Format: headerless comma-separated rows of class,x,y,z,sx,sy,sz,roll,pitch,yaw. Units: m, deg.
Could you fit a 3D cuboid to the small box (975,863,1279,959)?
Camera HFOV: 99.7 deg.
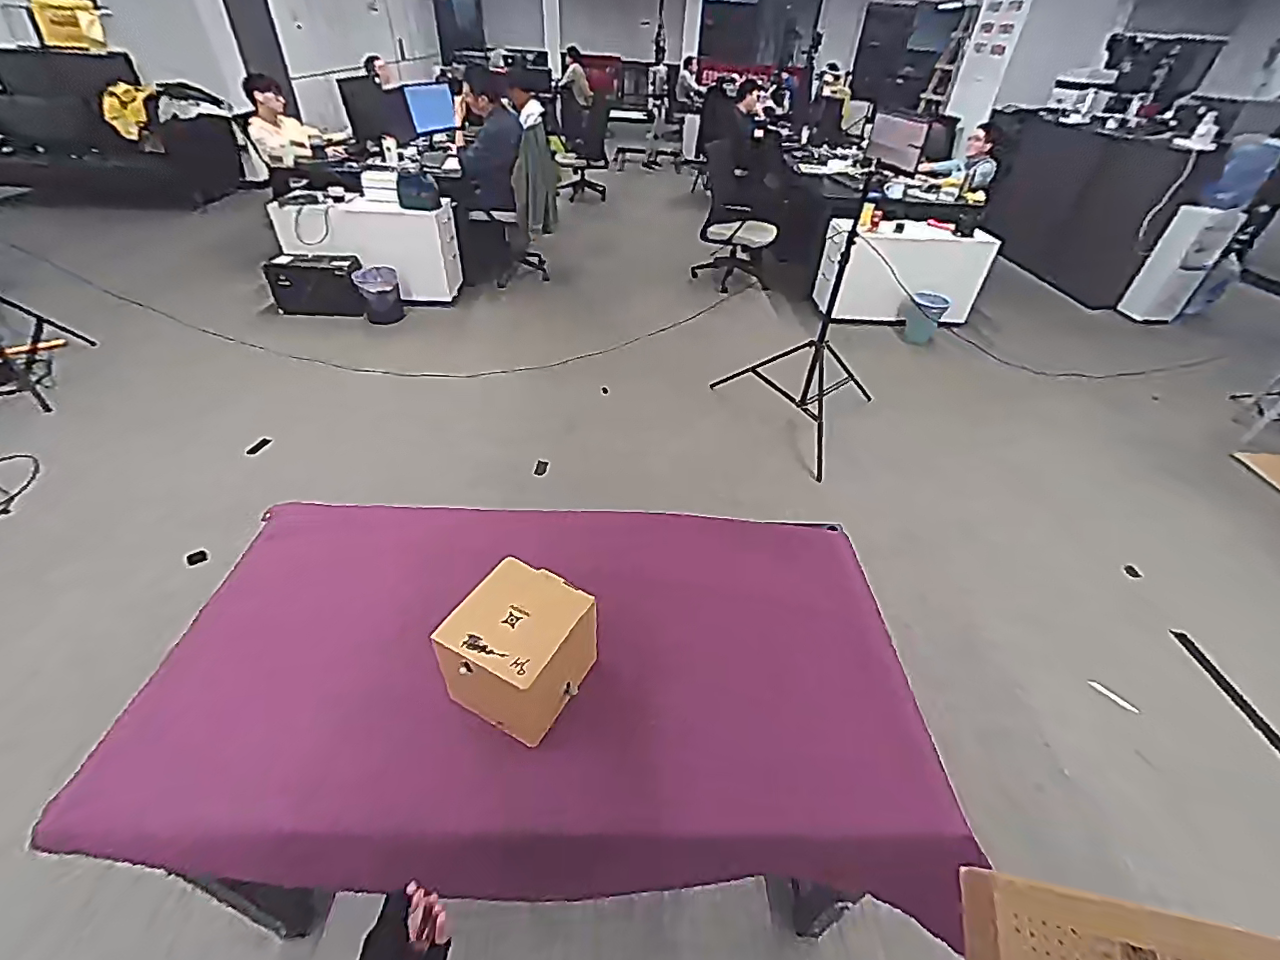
small box,0.291,0.328,0.294,0.168,0.179,0.176,0,58,25

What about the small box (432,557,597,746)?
small box,-0.181,0.256,0.819,0.168,0.176,0.179,21,41,20
